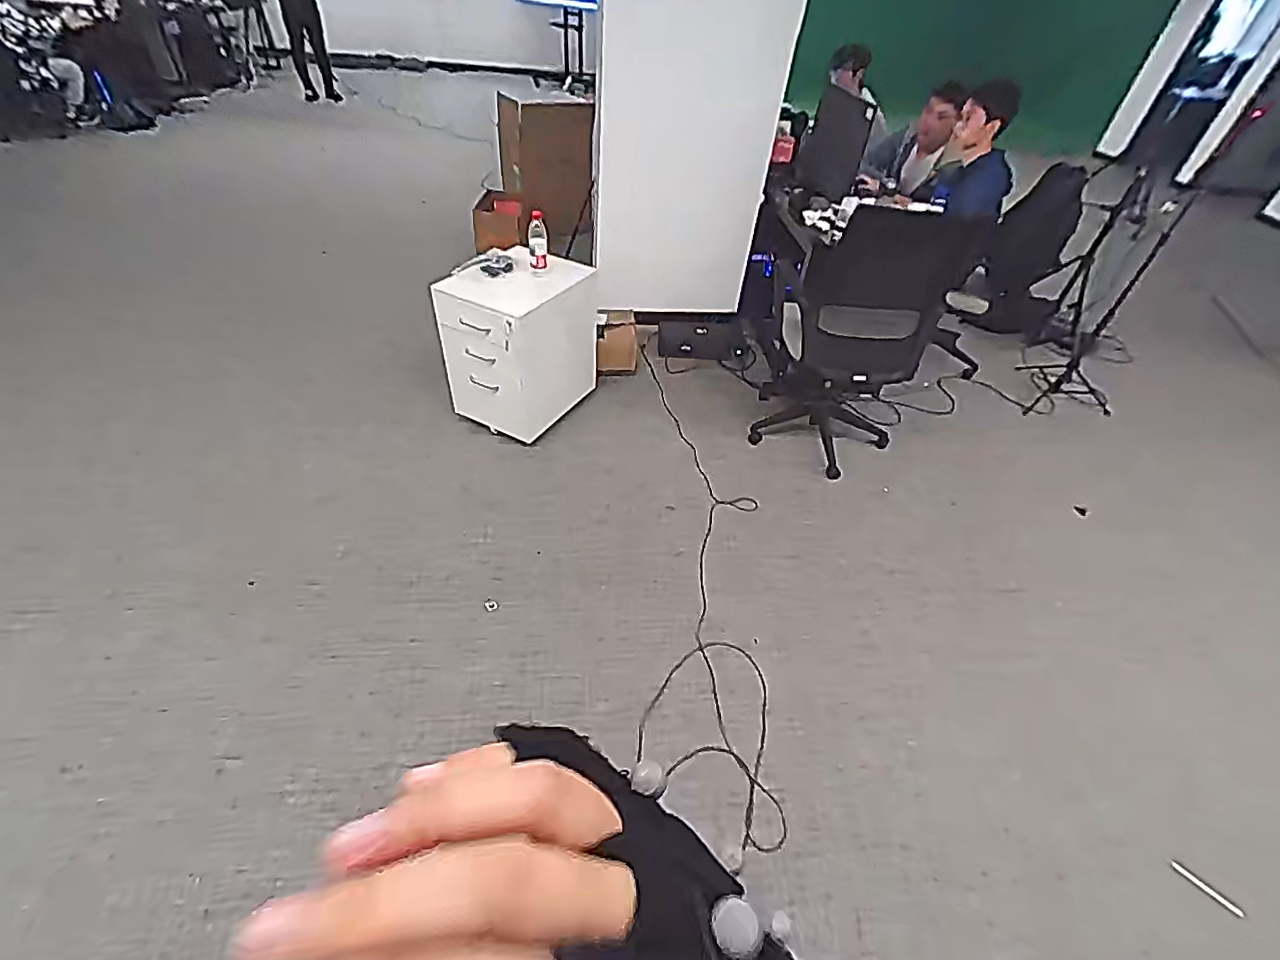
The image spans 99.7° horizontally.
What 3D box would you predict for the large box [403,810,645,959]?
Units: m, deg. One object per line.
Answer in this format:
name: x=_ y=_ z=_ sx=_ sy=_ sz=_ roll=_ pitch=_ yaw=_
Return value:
large box: x=-0.207 y=0.868 z=1.033 sx=0.408 sy=0.320 sz=0.320 roll=0 pitch=43 yaw=-6
